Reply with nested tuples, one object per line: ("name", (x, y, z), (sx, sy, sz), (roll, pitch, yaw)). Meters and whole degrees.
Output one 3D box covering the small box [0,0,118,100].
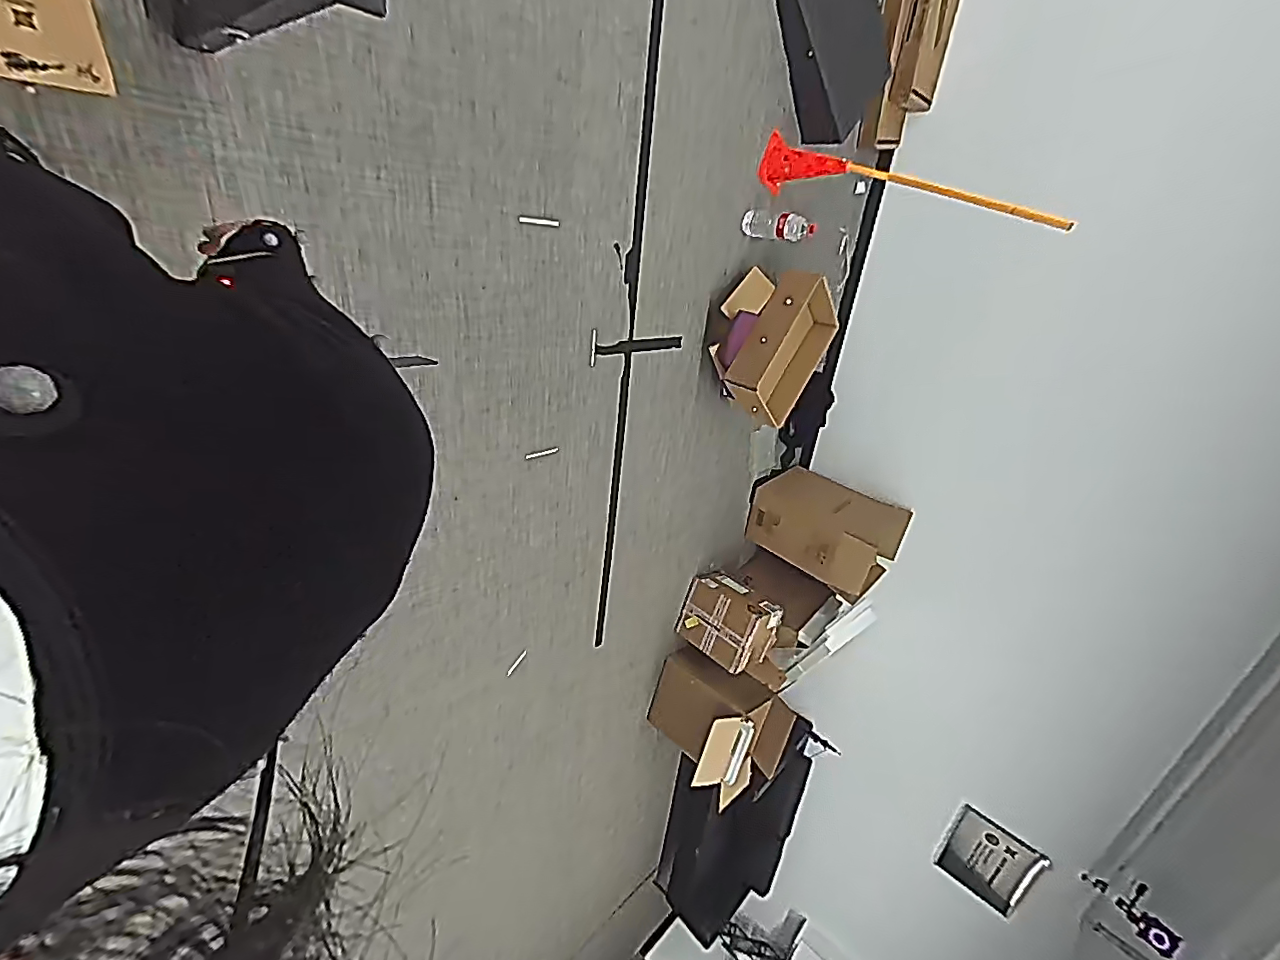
("small box", (-0.944, -0.707, 0.826), (0.168, 0.176, 0.179), (-20, 126, -42))
